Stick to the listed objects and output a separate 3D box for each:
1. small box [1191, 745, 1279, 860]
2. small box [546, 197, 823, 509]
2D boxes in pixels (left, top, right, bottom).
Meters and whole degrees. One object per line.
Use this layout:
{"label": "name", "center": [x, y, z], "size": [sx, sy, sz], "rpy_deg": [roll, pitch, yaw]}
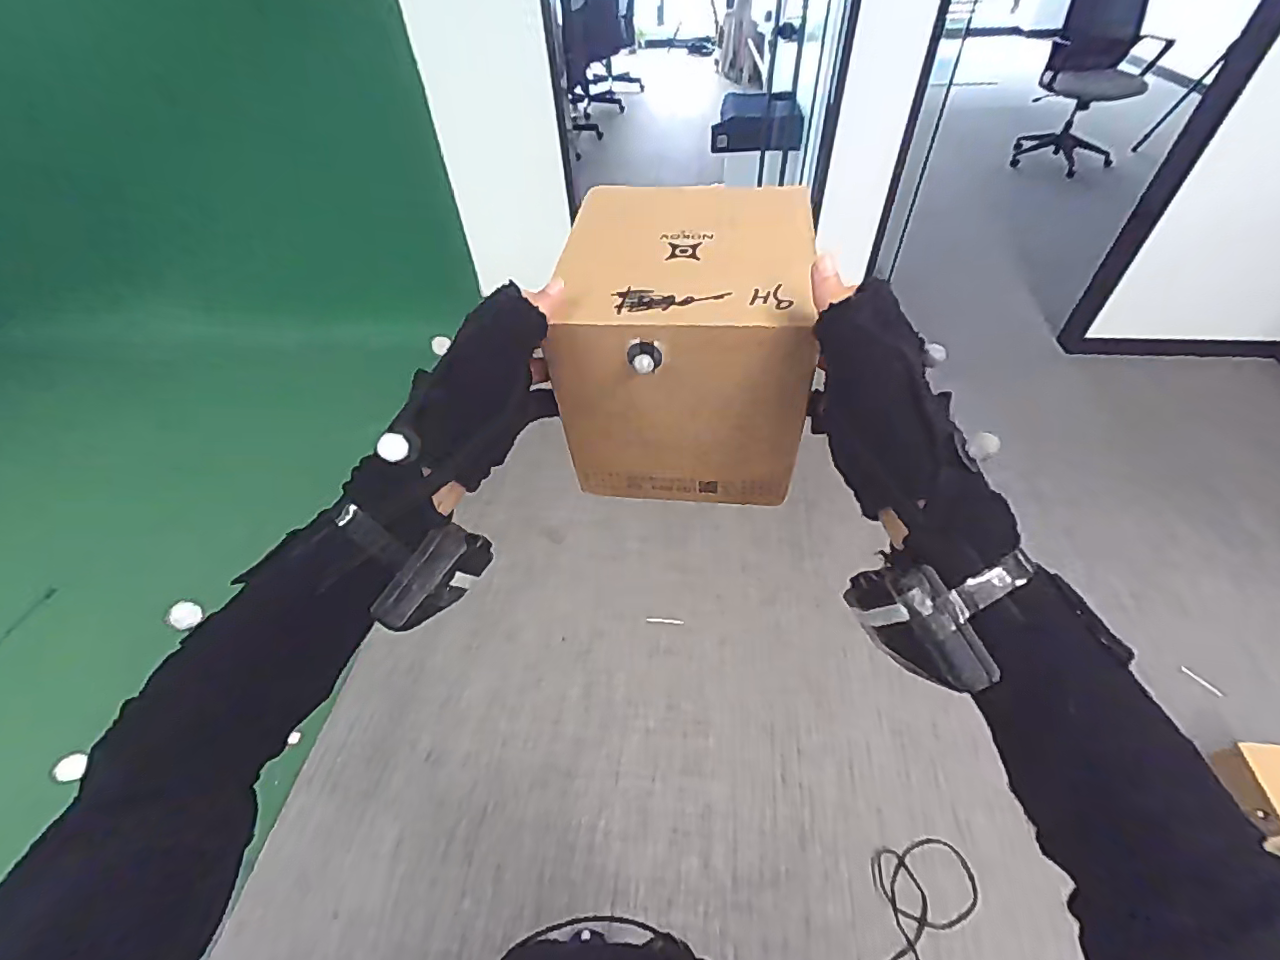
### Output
{"label": "small box", "center": [1.367, 0.698, 1.164], "size": [0.168, 0.176, 0.179], "rpy_deg": [3, 48, 6]}
{"label": "small box", "center": [0.041, -0.100, 0.426], "size": [0.168, 0.176, 0.179], "rpy_deg": [3, 51, 9]}
